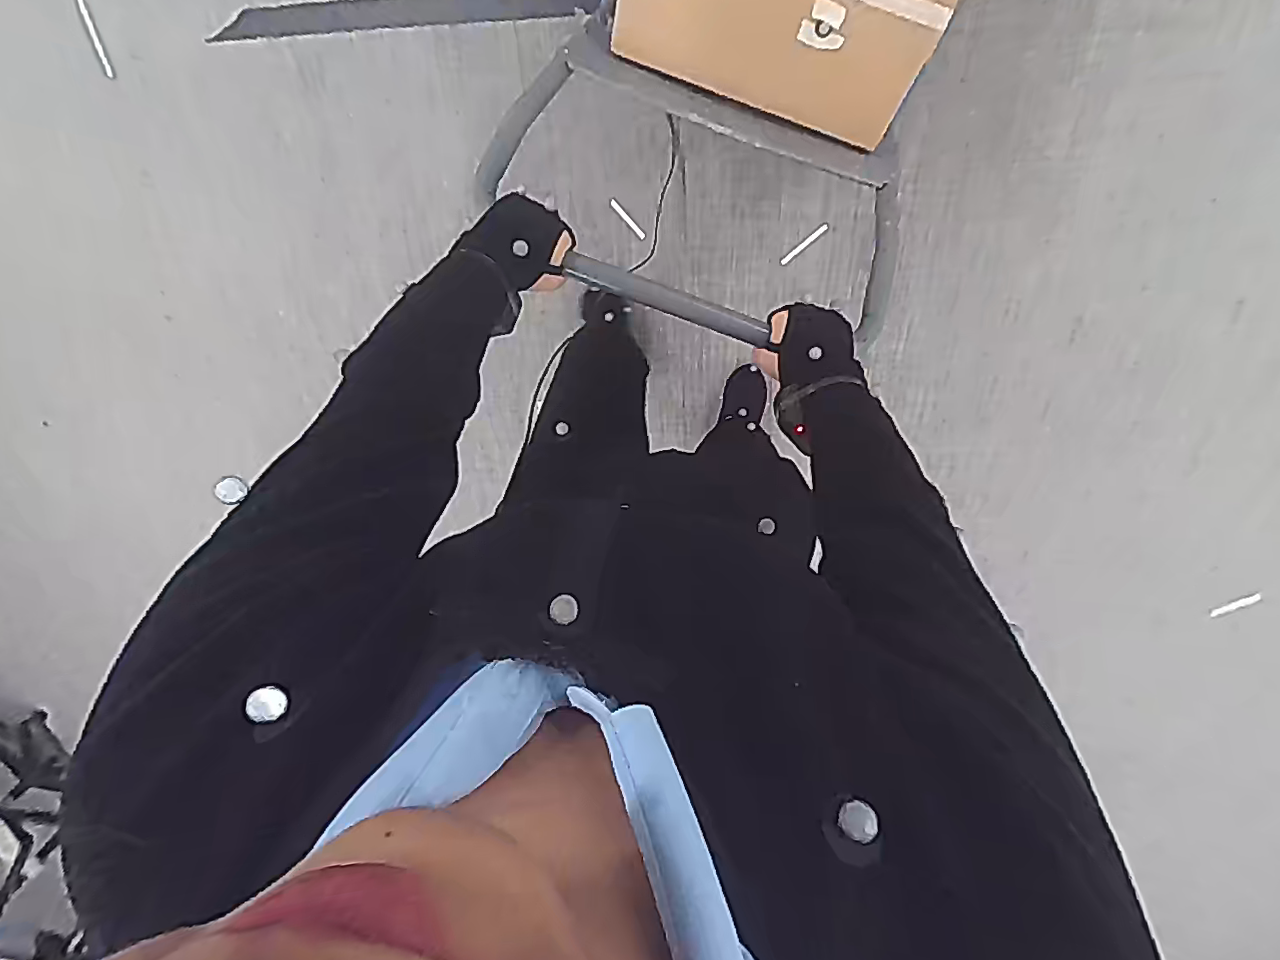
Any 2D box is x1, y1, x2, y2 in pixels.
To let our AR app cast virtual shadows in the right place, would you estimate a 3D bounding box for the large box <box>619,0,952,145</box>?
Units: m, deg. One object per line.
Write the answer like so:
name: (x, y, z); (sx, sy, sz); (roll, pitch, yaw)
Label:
large box: (0.219, -0.746, 0.750); (0.408, 0.320, 0.320); (18, 144, -3)
